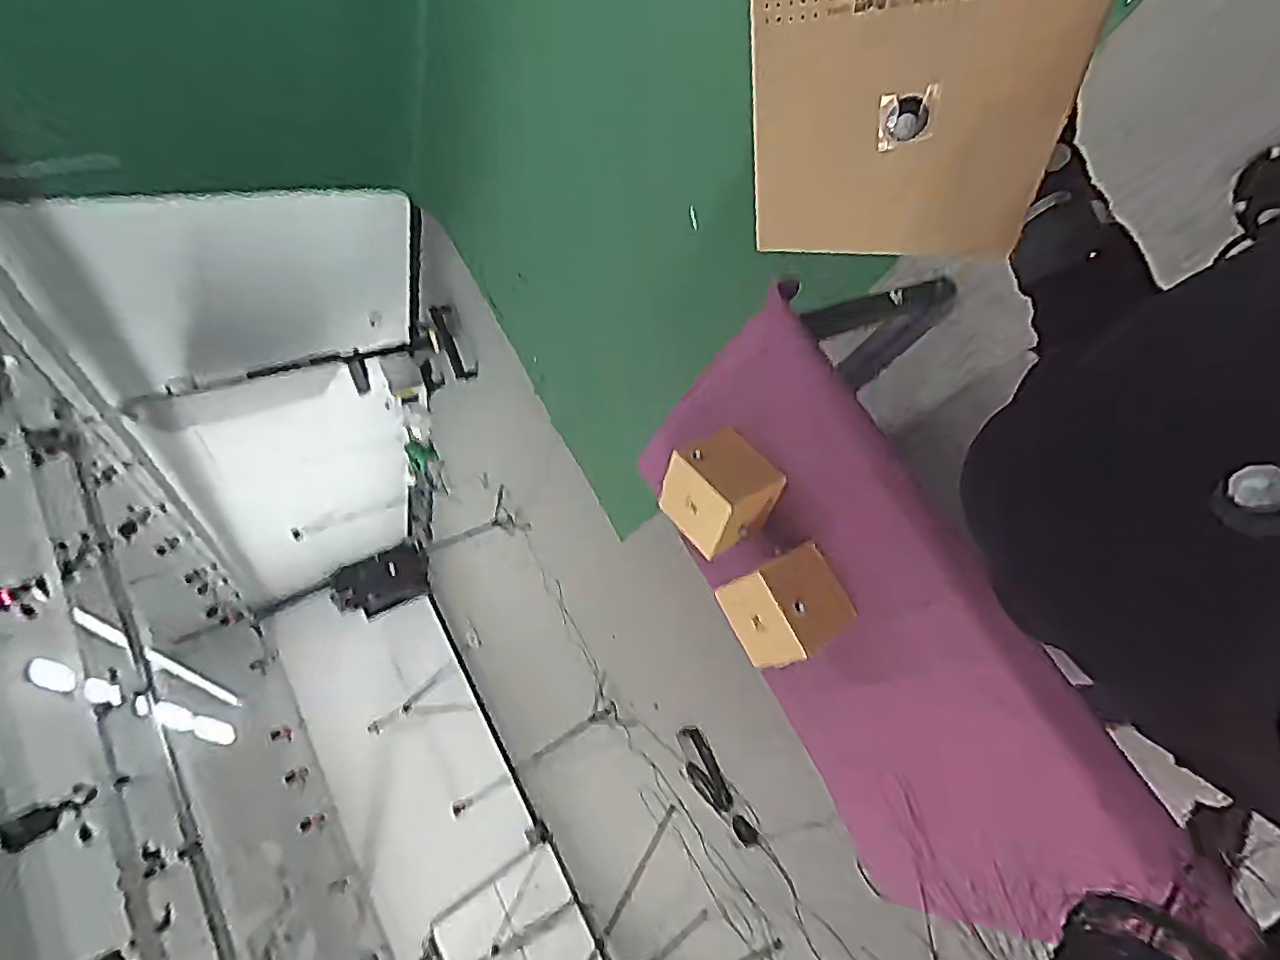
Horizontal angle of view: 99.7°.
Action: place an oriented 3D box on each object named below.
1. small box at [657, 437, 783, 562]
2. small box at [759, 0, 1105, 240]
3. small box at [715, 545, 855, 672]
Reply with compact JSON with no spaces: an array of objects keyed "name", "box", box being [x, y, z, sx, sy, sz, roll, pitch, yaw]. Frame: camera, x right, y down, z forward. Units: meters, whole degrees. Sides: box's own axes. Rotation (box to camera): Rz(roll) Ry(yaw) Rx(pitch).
[{"name":"small box","box":[0.166,0.033,1.128,0.179,0.176,0.168,47,143,30]},{"name":"small box","box":[0.173,-0.278,0.342,0.168,0.179,0.176,11,149,19]},{"name":"small box","box":[0.289,0.256,1.080,0.179,0.176,0.168,62,146,11]}]
